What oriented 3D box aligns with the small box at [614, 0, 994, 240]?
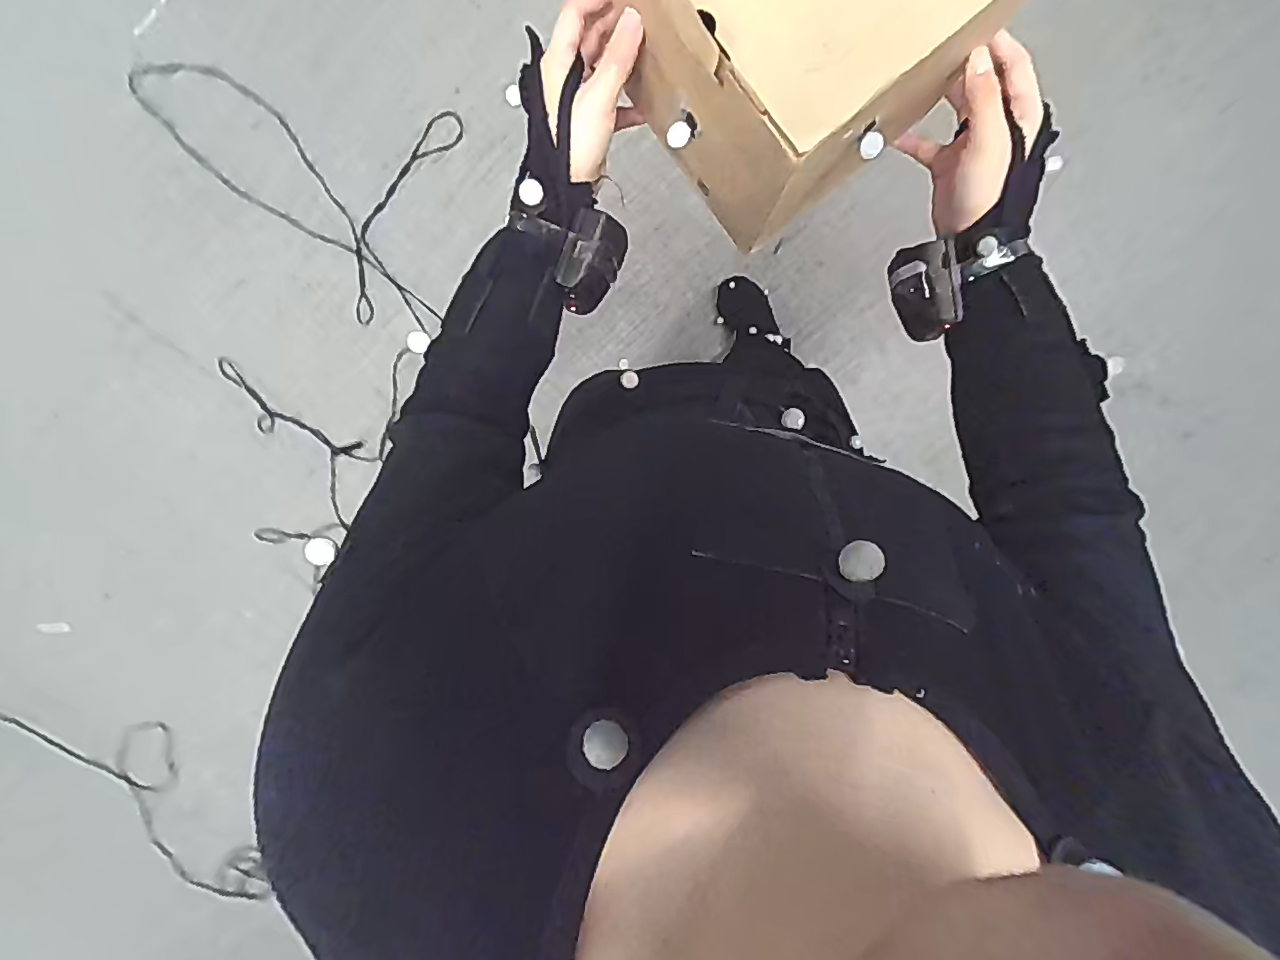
[{"bbox_3d":[0.097,-0.293,0.350,0.179,0.176,0.168,-39,93,6],"label":"small box"}]
